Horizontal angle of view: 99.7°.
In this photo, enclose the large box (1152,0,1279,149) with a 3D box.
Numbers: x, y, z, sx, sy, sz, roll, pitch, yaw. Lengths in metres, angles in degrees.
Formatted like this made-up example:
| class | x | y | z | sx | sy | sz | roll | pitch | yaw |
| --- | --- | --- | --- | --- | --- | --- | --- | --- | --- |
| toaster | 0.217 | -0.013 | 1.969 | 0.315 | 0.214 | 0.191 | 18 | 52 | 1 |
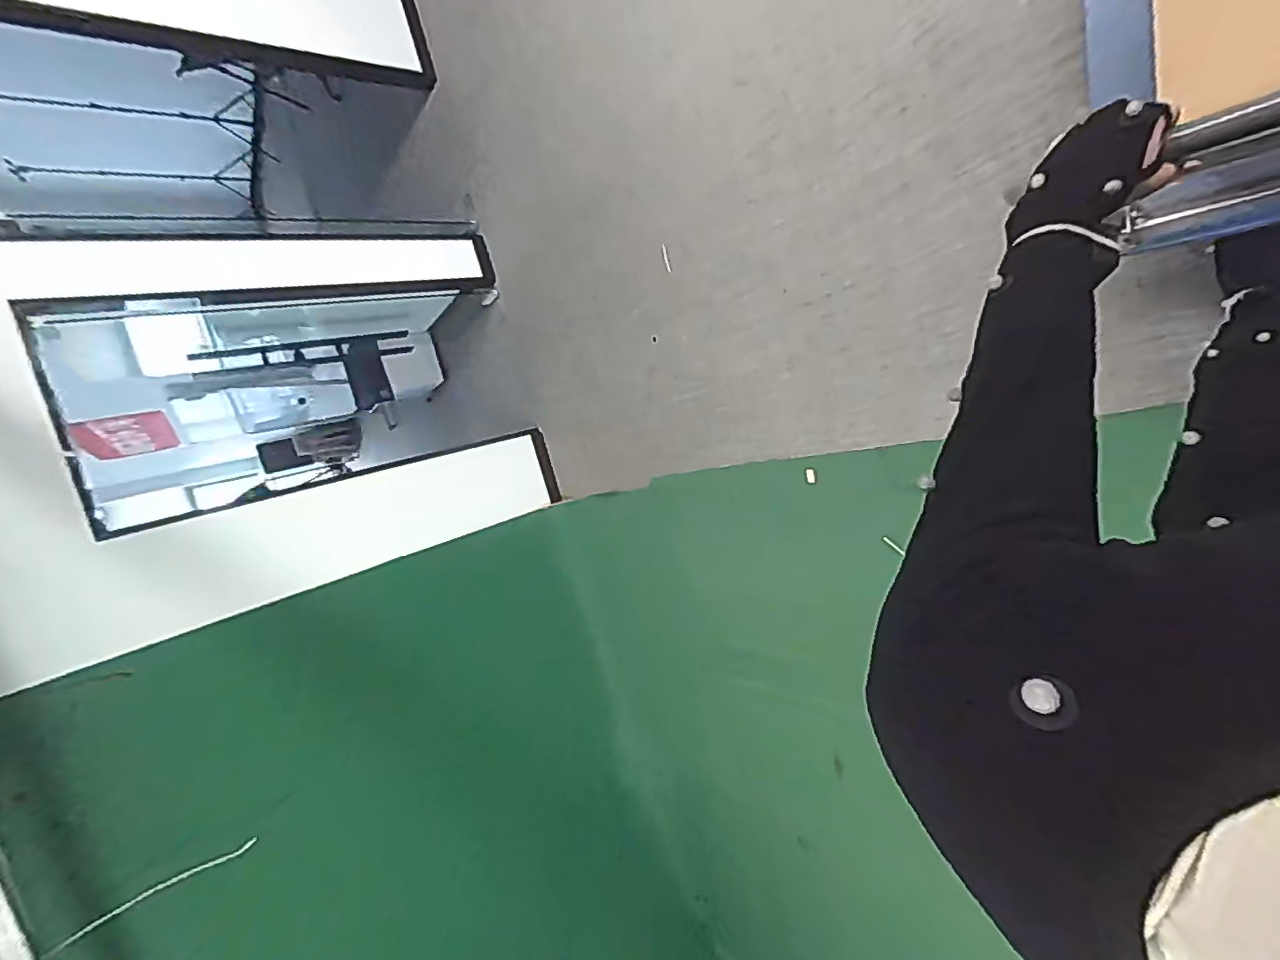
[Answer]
| class | x | y | z | sx | sy | sz | roll | pitch | yaw |
| --- | --- | --- | --- | --- | --- | --- | --- | --- | --- |
| large box | 0.906 | -0.726 | 0.704 | 0.320 | 0.320 | 0.408 | -1 | 104 | 52 |
